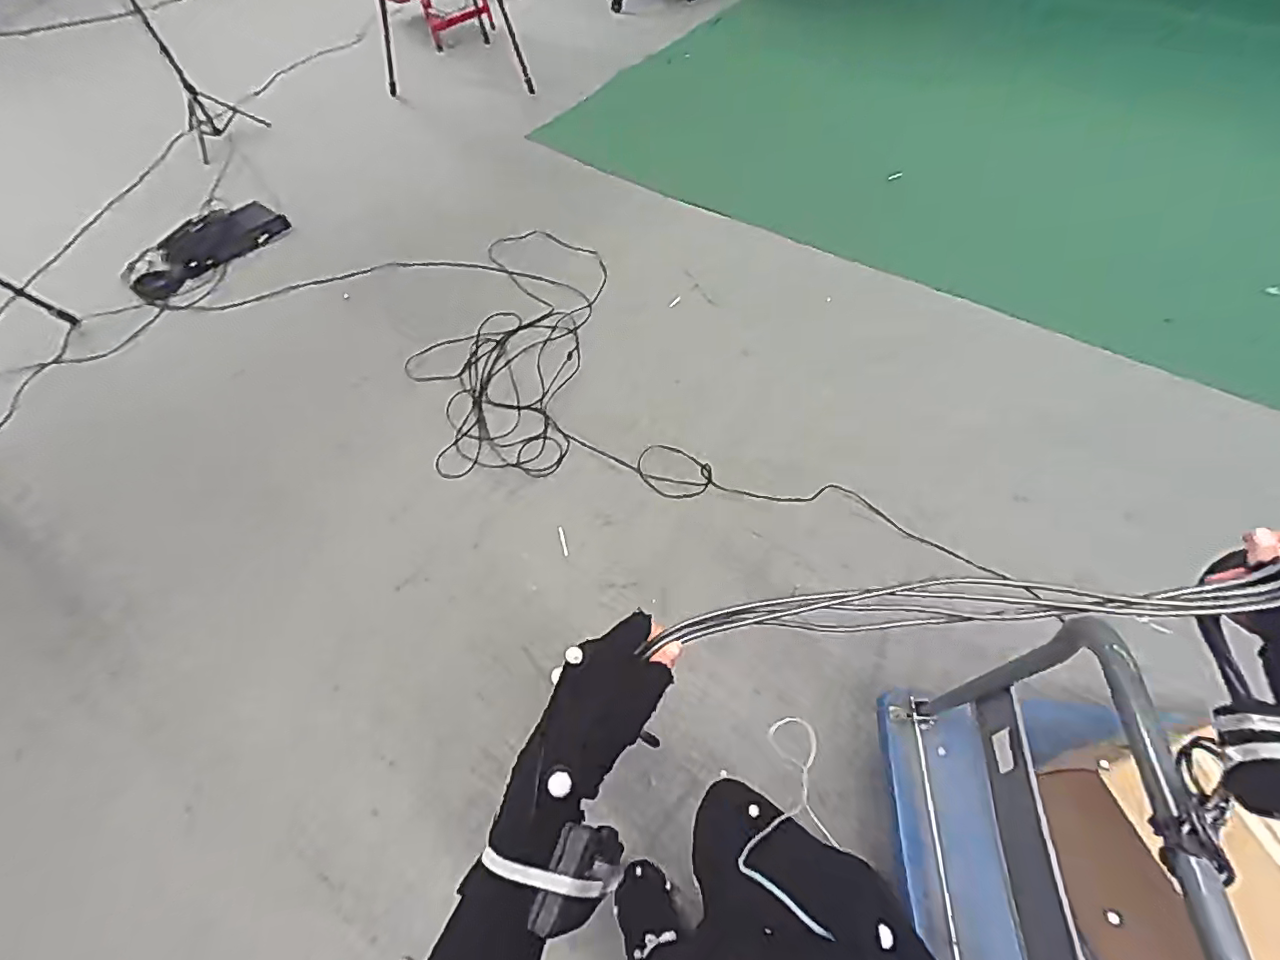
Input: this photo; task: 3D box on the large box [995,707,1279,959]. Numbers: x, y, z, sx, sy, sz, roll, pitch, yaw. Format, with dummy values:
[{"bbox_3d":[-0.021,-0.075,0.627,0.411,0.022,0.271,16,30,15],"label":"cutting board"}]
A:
[{"bbox_3d":[0.904,0.647,0.880,0.320,0.320,0.408,-15,57,-8],"label":"large box"}]
